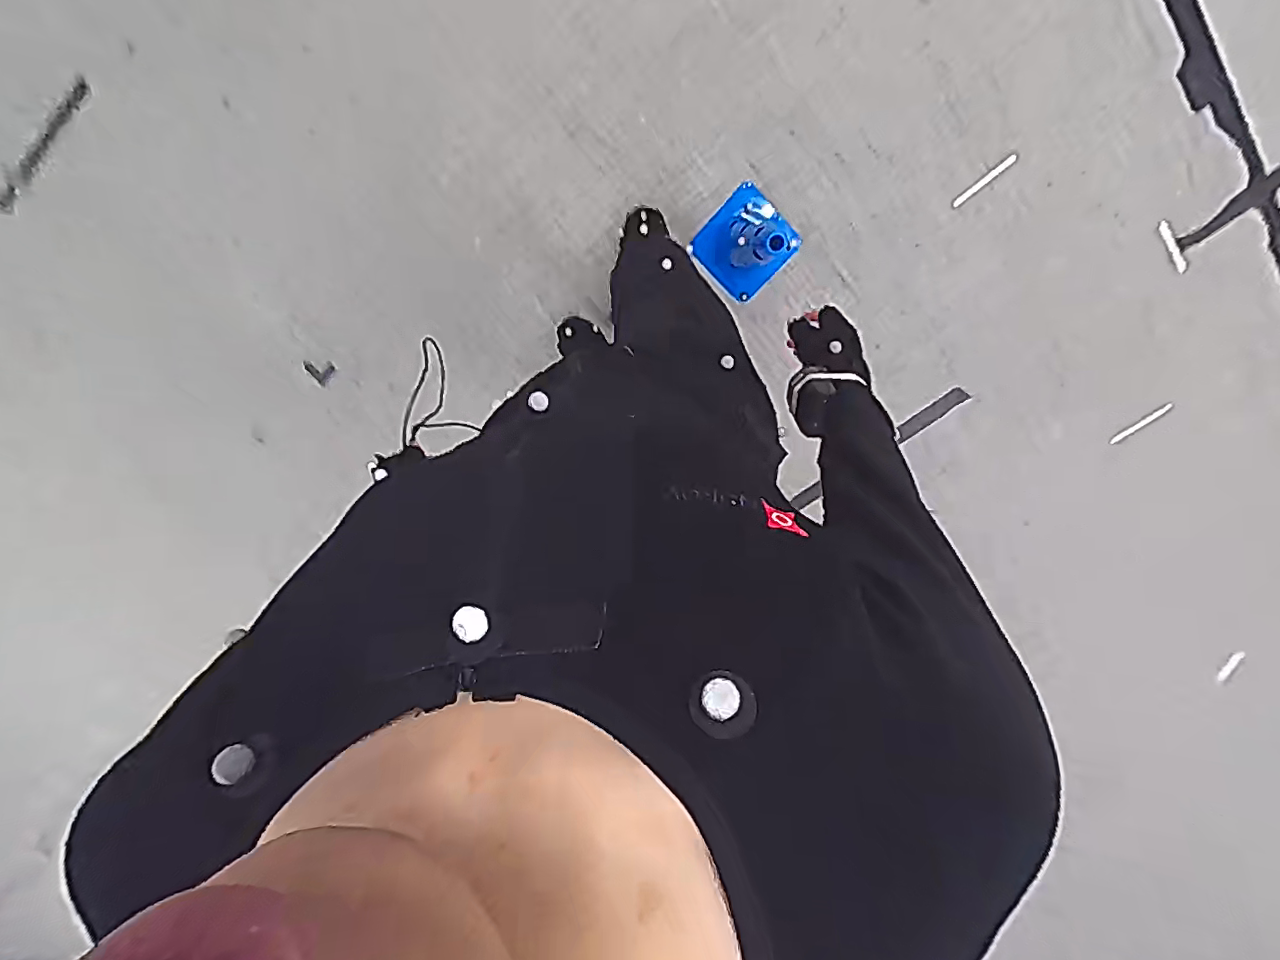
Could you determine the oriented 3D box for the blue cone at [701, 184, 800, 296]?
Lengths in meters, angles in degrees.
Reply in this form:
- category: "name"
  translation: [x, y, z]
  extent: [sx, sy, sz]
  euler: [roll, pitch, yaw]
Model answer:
- category: "blue cone"
  translation: [0.254, -0.494, 1.114]
  extent: [0.192, 0.380, 0.193]
  euler: [41, 108, -16]
